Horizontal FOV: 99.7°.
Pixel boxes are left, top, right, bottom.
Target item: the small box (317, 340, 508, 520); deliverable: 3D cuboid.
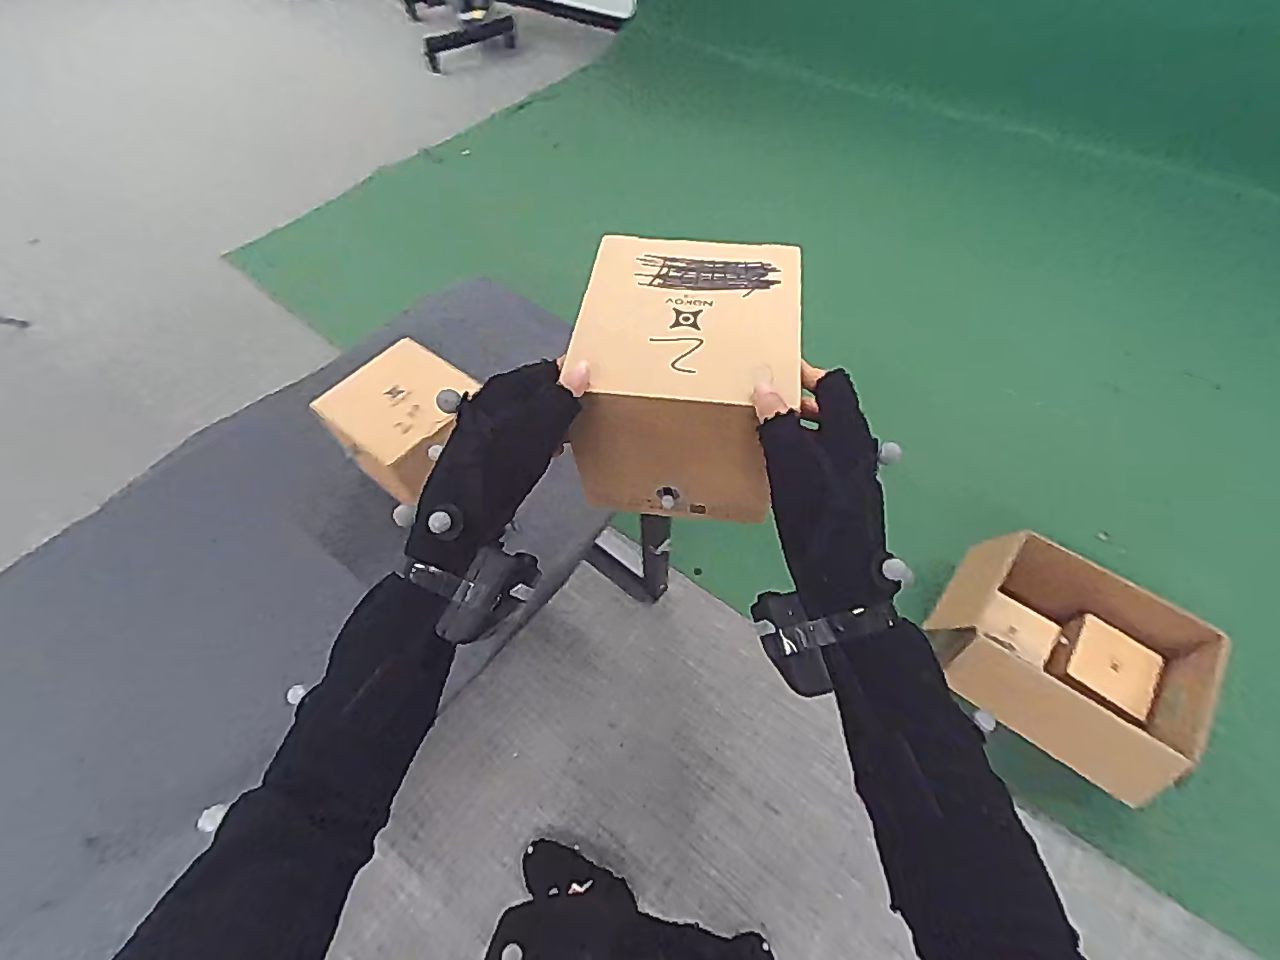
[{"bbox_3d":[-0.329,-0.070,0.812,0.179,0.176,0.168,33,64,21],"label":"small box"}]
